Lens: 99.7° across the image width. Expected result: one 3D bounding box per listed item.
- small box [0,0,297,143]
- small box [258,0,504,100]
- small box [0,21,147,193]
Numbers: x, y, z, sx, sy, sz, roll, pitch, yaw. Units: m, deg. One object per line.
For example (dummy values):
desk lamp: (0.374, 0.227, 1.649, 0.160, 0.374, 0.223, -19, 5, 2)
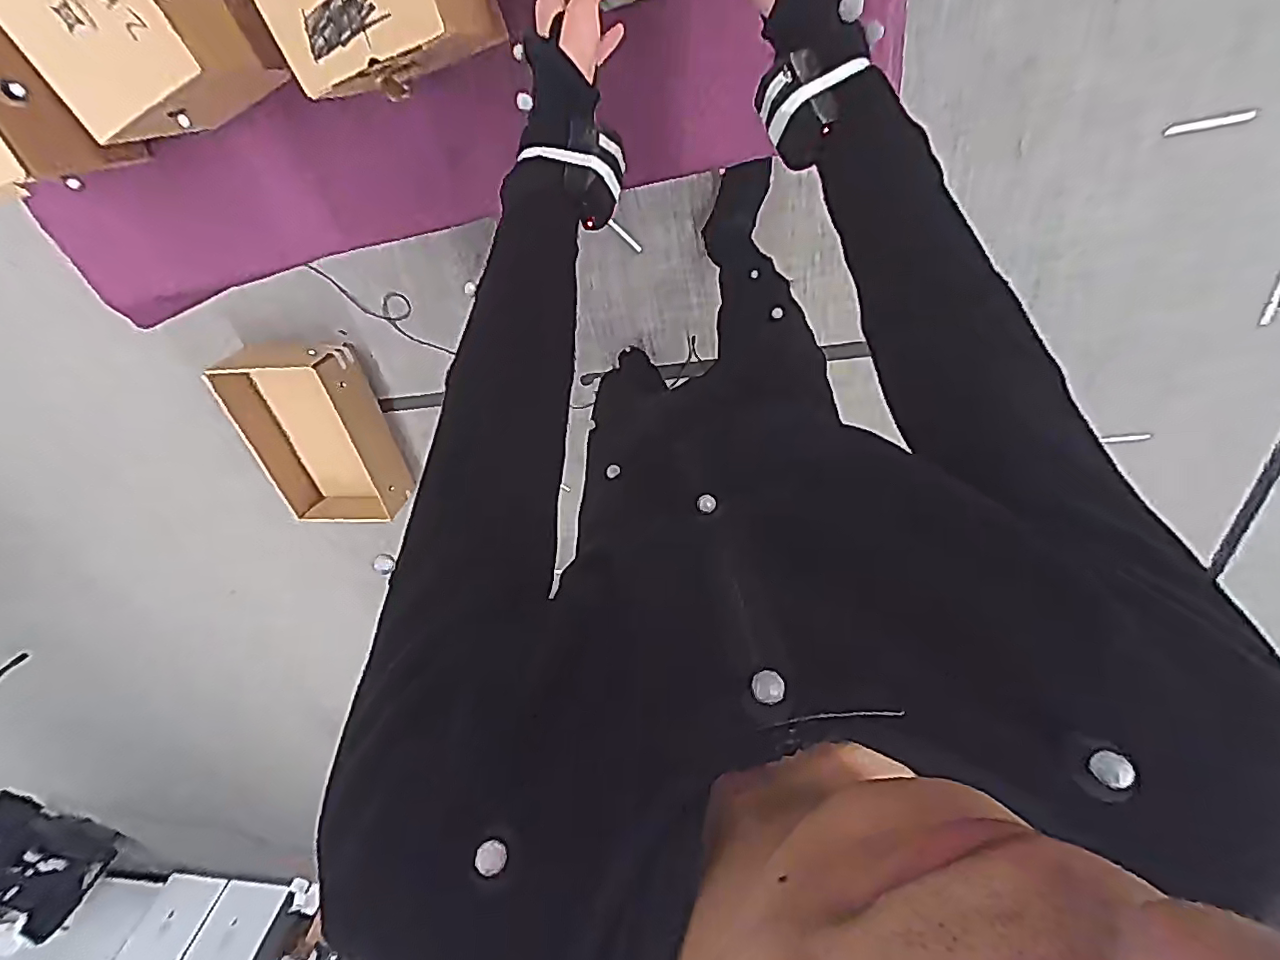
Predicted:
small box: (-0.516, -0.487, 0.573, 0.179, 0.176, 0.168, -14, 125, 19)
small box: (-0.256, -0.498, 0.520, 0.168, 0.176, 0.179, -10, 124, 17)
small box: (-0.765, -0.452, 0.644, 0.168, 0.176, 0.179, -2, 127, 10)
